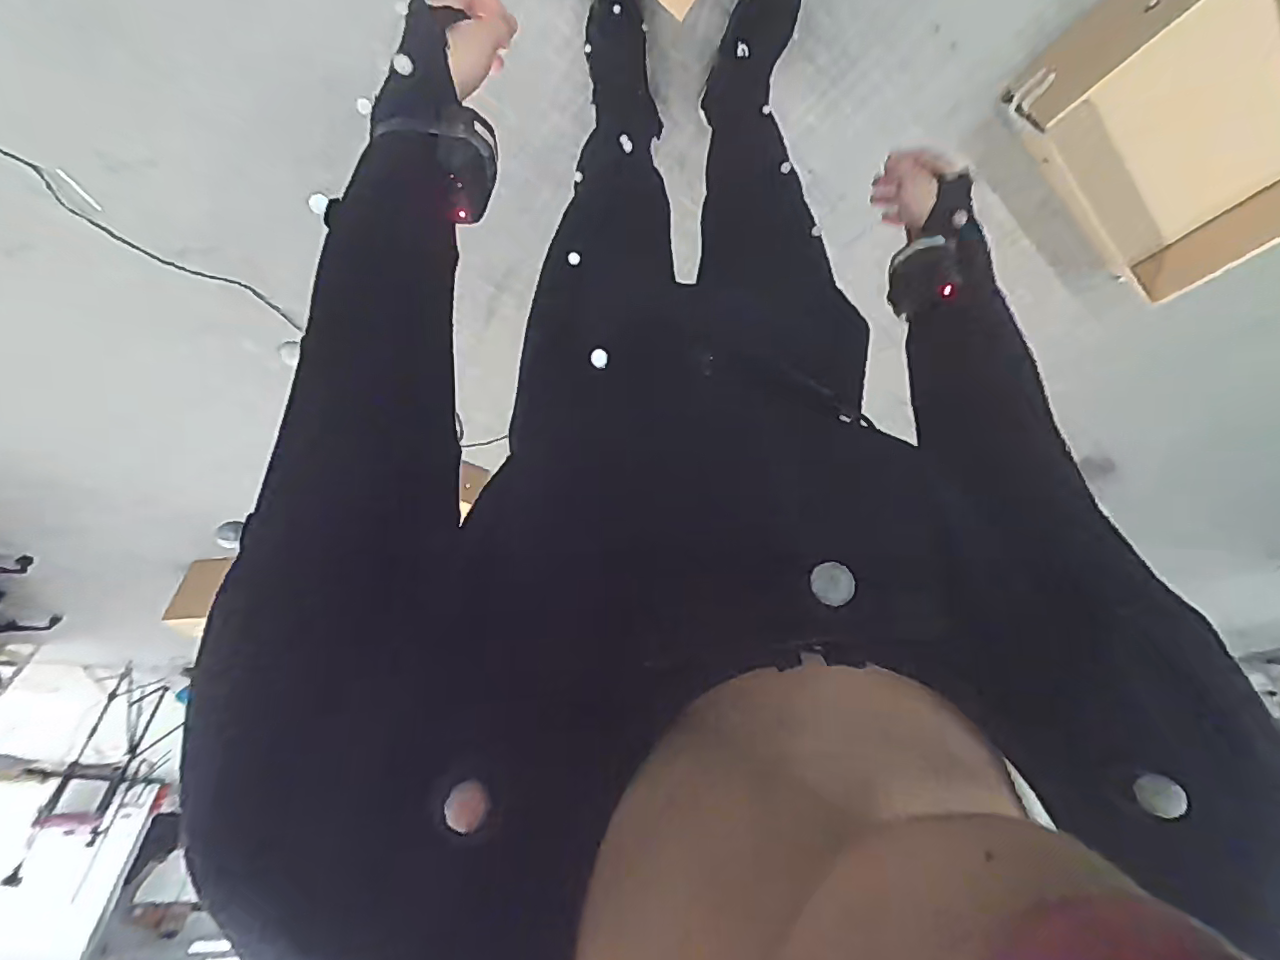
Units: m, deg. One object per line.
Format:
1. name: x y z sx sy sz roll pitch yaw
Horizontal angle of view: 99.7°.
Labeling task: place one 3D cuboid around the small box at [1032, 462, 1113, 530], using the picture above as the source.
1. small box: 1.629 0.059 2.041 0.179 0.176 0.168 28 135 -33

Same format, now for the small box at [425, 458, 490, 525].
1. small box: -0.680 0.042 2.025 0.179 0.176 0.168 21 139 -28
